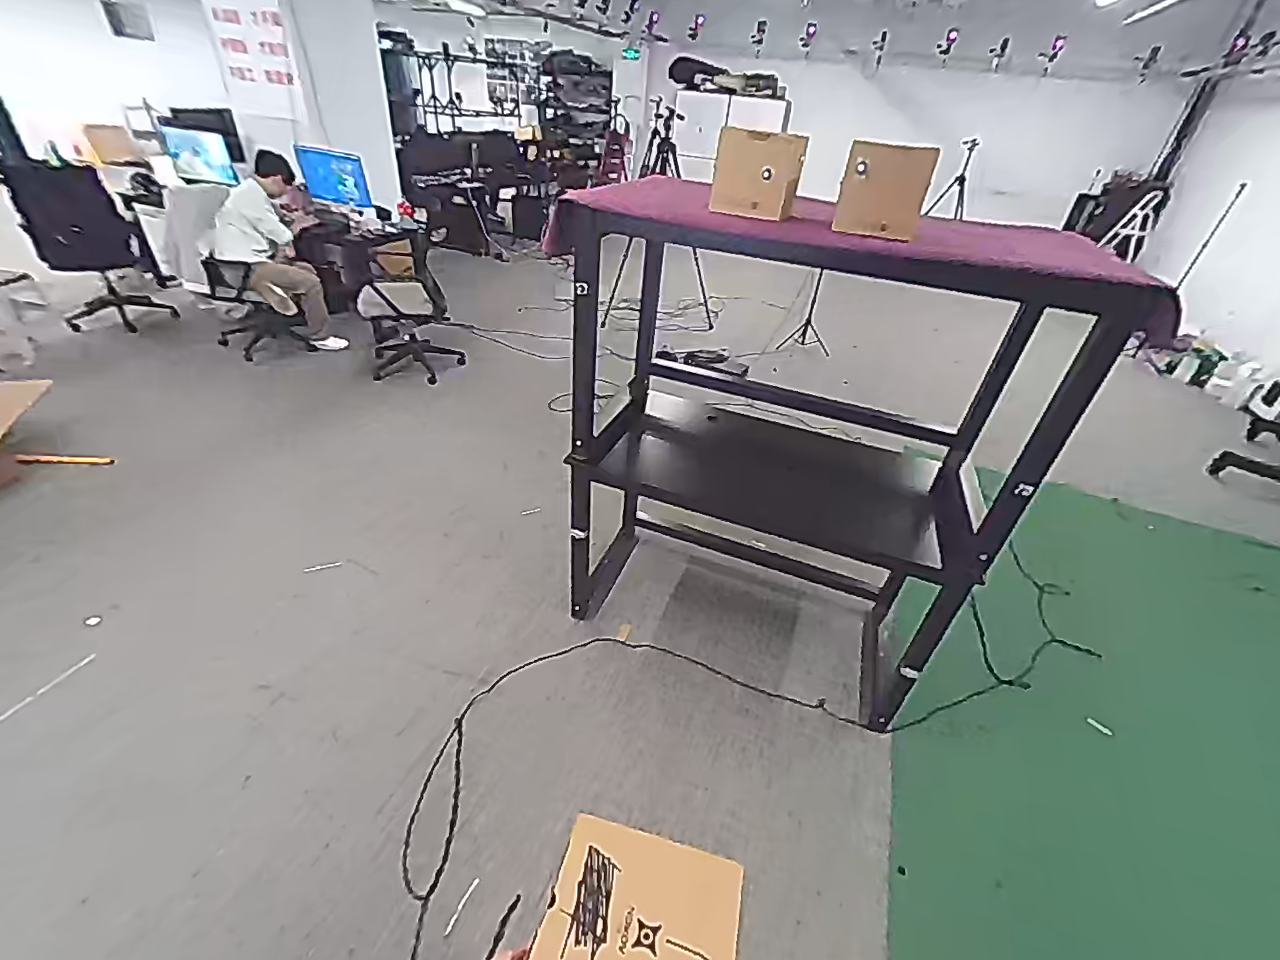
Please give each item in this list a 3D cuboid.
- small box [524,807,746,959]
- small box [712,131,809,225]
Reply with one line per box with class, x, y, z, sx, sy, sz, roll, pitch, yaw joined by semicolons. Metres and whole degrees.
small box;-0.005;0.462;0.518;0.179;0.176;0.168;11;31;11
small box;0.271;-0.689;1.234;0.168;0.176;0.179;18;35;16
